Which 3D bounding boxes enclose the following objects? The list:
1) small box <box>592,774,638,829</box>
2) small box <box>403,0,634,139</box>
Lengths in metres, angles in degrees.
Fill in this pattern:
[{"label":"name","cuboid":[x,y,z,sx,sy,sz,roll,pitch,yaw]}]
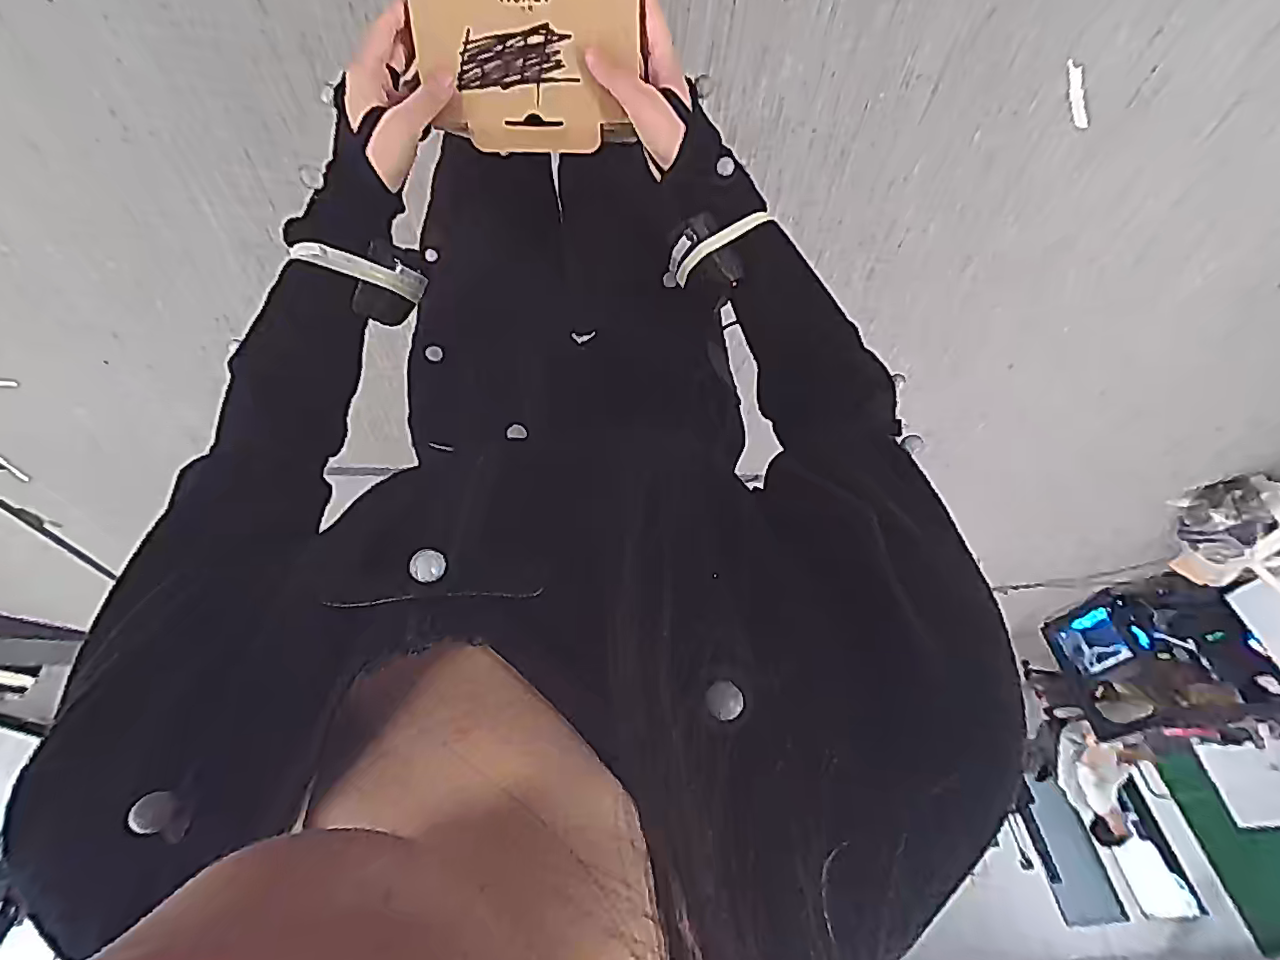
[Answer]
[{"label":"small box","cuboid":[-0.099,1.288,2.165,0.179,0.176,0.168,-3,144,-2]},{"label":"small box","cuboid":[-0.088,-0.390,0.447,0.168,0.176,0.179,-1,118,-2]}]
